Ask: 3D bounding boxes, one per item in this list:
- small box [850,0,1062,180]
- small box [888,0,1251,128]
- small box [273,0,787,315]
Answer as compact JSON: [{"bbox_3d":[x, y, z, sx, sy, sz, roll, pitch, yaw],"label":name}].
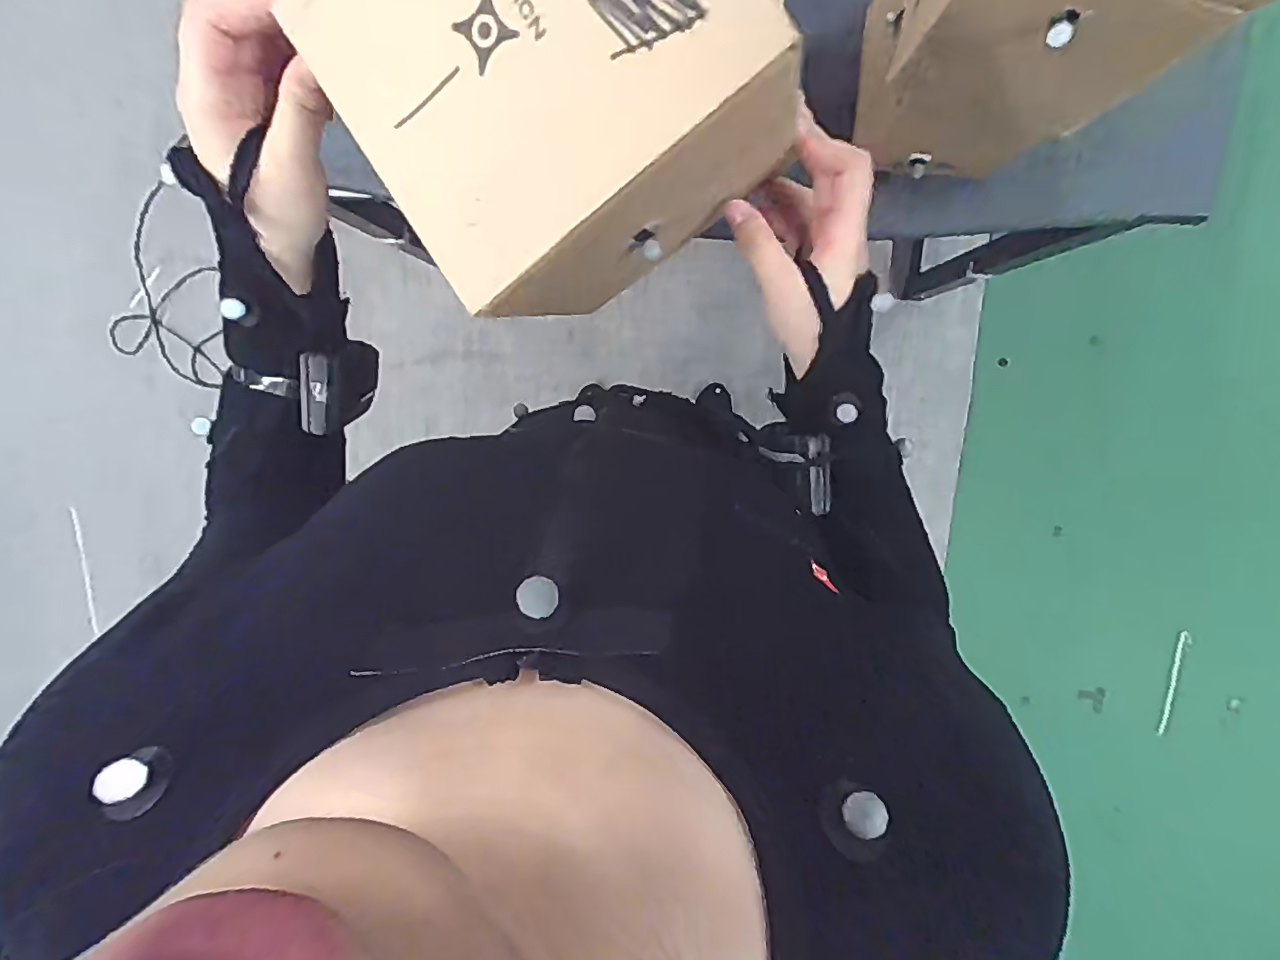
[{"bbox_3d":[0.334,-0.443,0.565,0.168,0.176,0.179,4,99,3],"label":"small box"},{"bbox_3d":[0.324,-0.402,0.408,0.179,0.176,0.168,15,100,2],"label":"small box"},{"bbox_3d":[-0.036,-0.211,0.299,0.179,0.176,0.168,-30,96,22],"label":"small box"}]
